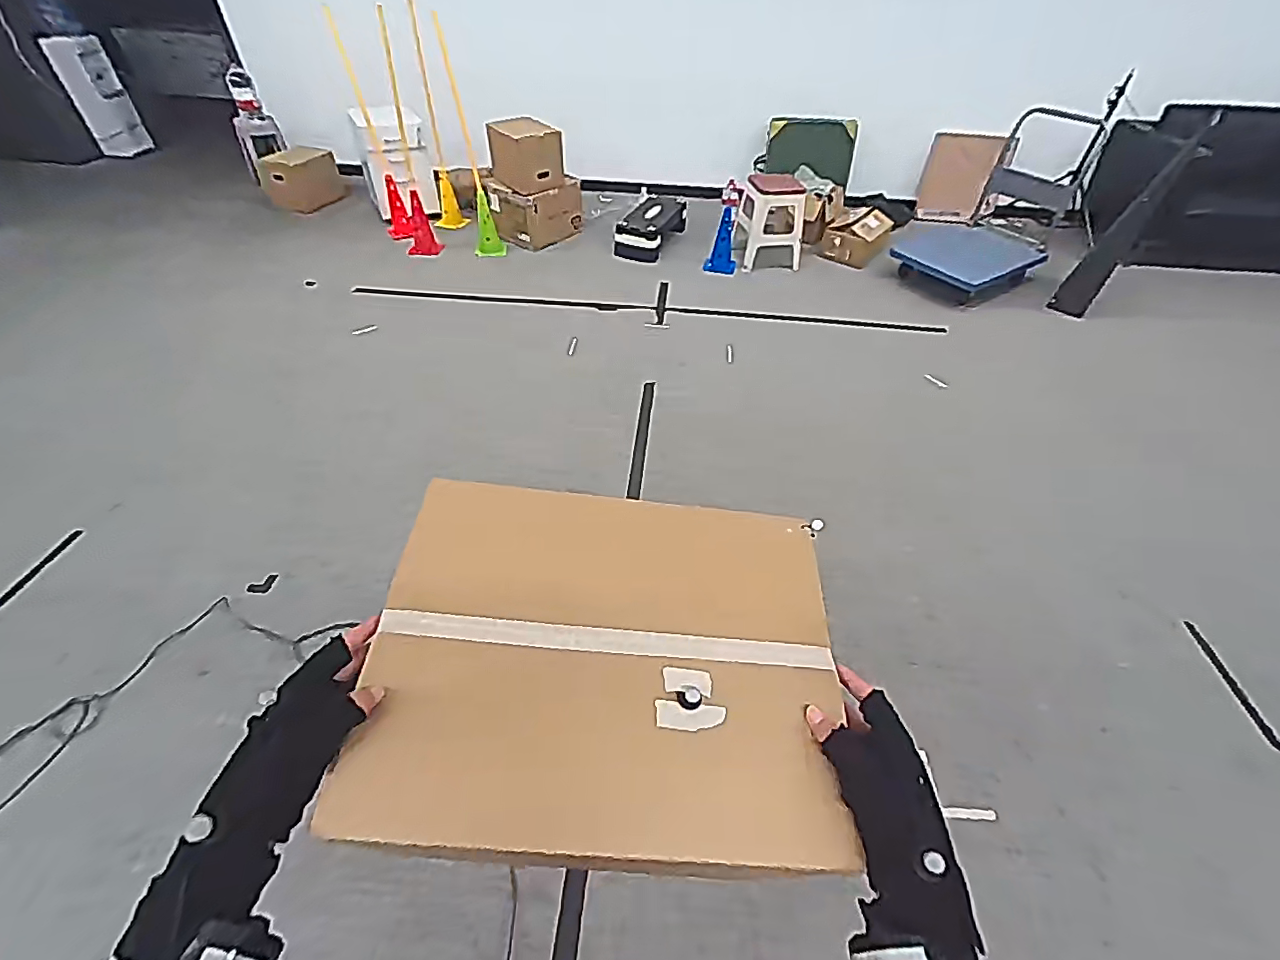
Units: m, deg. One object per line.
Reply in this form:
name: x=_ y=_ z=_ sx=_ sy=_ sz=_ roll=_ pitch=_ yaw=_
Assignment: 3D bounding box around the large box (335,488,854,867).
large box: x=-0.043 y=0.238 z=0.612 sx=0.408 sy=0.320 sz=0.320 roll=7 pitch=53 yaw=-5
